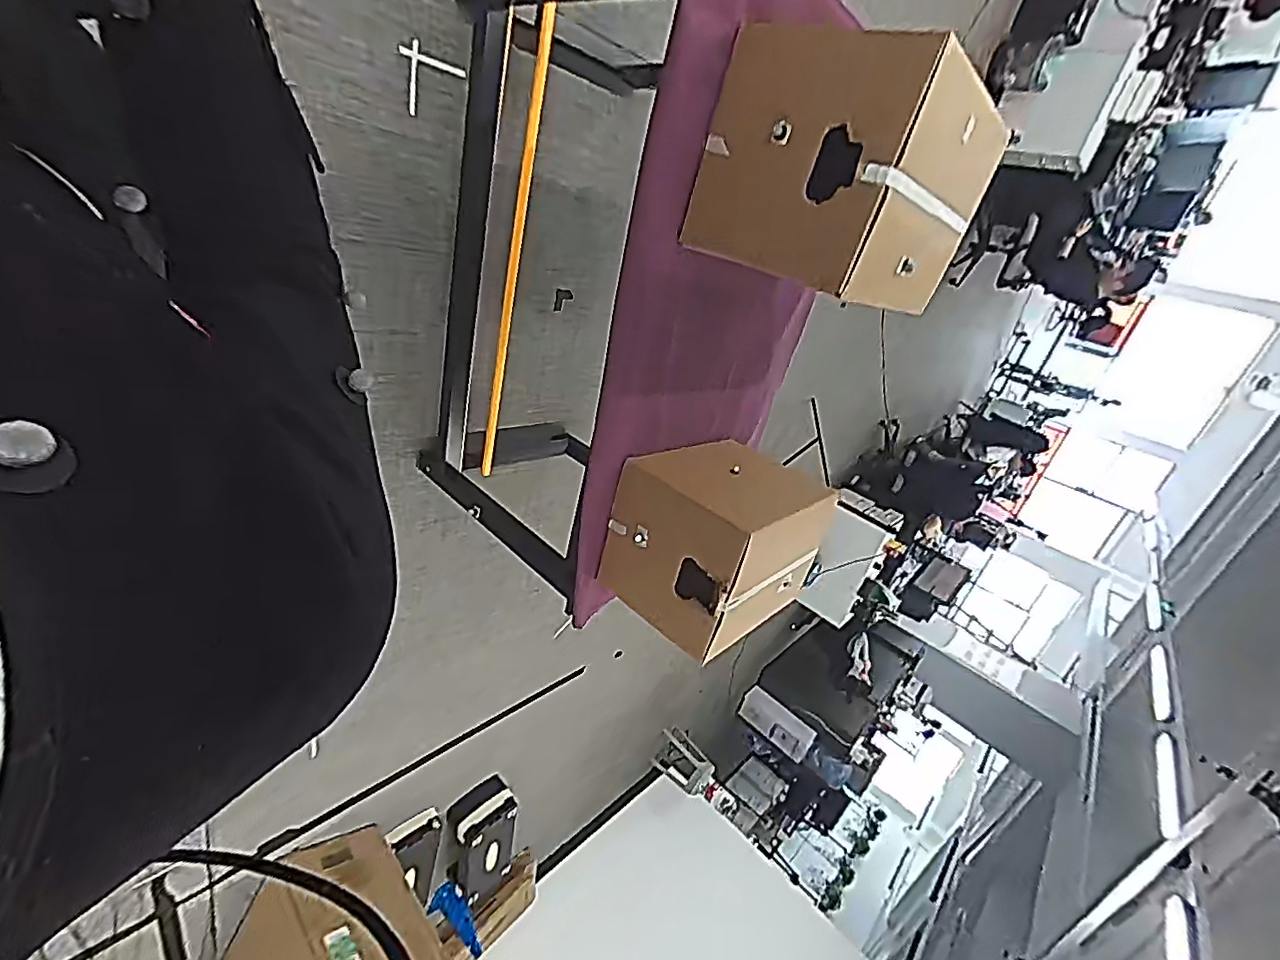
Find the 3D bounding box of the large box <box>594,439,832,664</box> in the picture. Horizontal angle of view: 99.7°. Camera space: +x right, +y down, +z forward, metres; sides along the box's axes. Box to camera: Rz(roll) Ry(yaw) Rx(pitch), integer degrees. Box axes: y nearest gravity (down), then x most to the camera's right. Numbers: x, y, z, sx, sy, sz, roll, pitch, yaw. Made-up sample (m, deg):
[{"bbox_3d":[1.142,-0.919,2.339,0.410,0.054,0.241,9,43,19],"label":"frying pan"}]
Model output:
[{"bbox_3d":[0.160,0.124,1.208,0.408,0.320,0.320,-15,129,-48],"label":"large box"}]
